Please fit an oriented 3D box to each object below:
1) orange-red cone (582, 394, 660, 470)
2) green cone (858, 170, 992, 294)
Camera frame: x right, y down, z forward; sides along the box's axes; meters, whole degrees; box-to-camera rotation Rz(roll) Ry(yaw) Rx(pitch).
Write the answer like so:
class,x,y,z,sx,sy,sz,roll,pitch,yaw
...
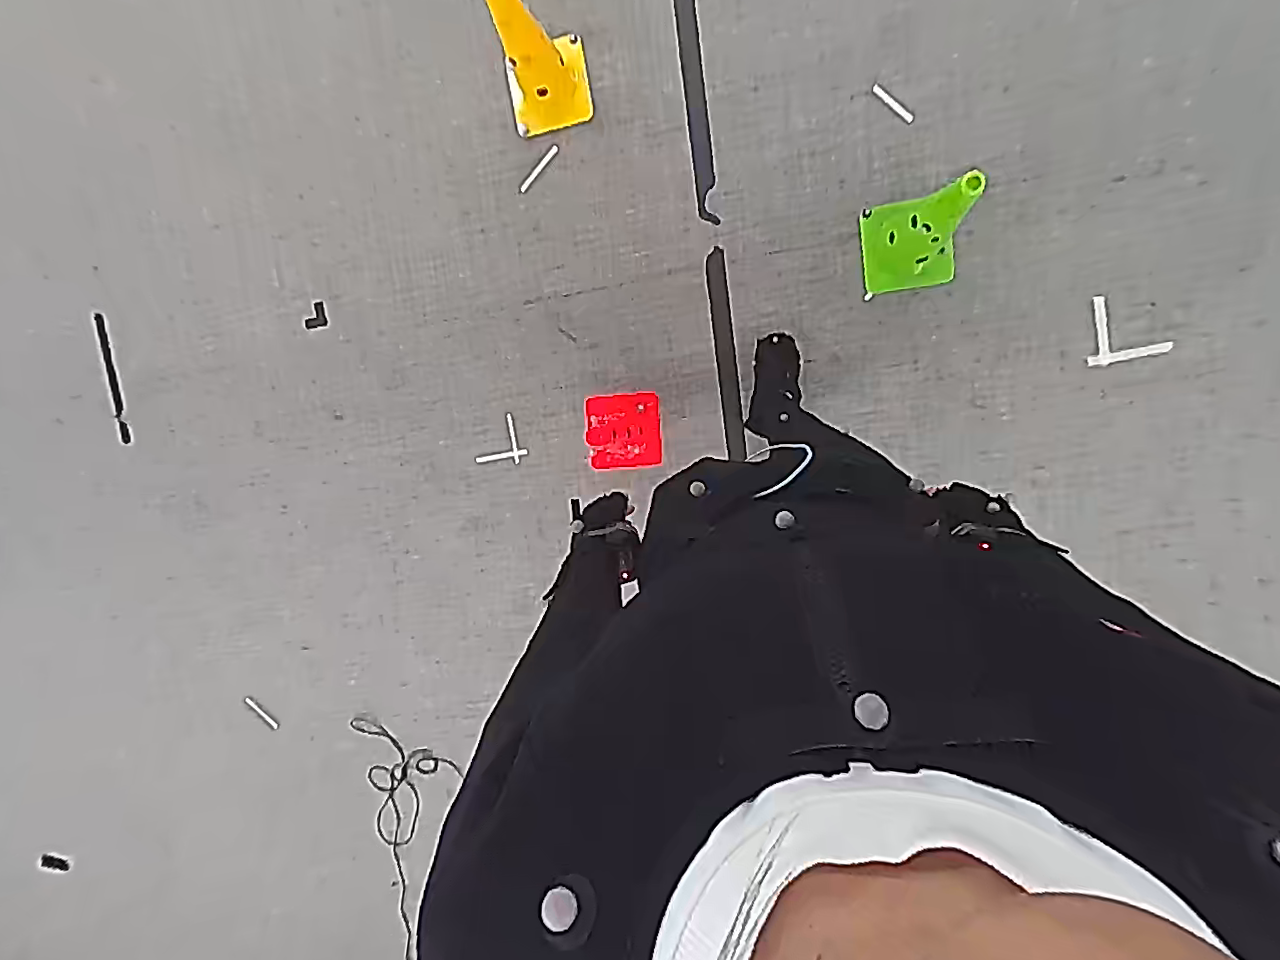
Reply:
class,x,y,z,sx,sy,sz,roll,pitch,yaw
orange-red cone,-0.074,-0.108,1.266,0.199,0.360,0.198,-2,96,10
green cone,0.603,-0.530,1.106,0.202,0.368,0.200,-7,96,8
